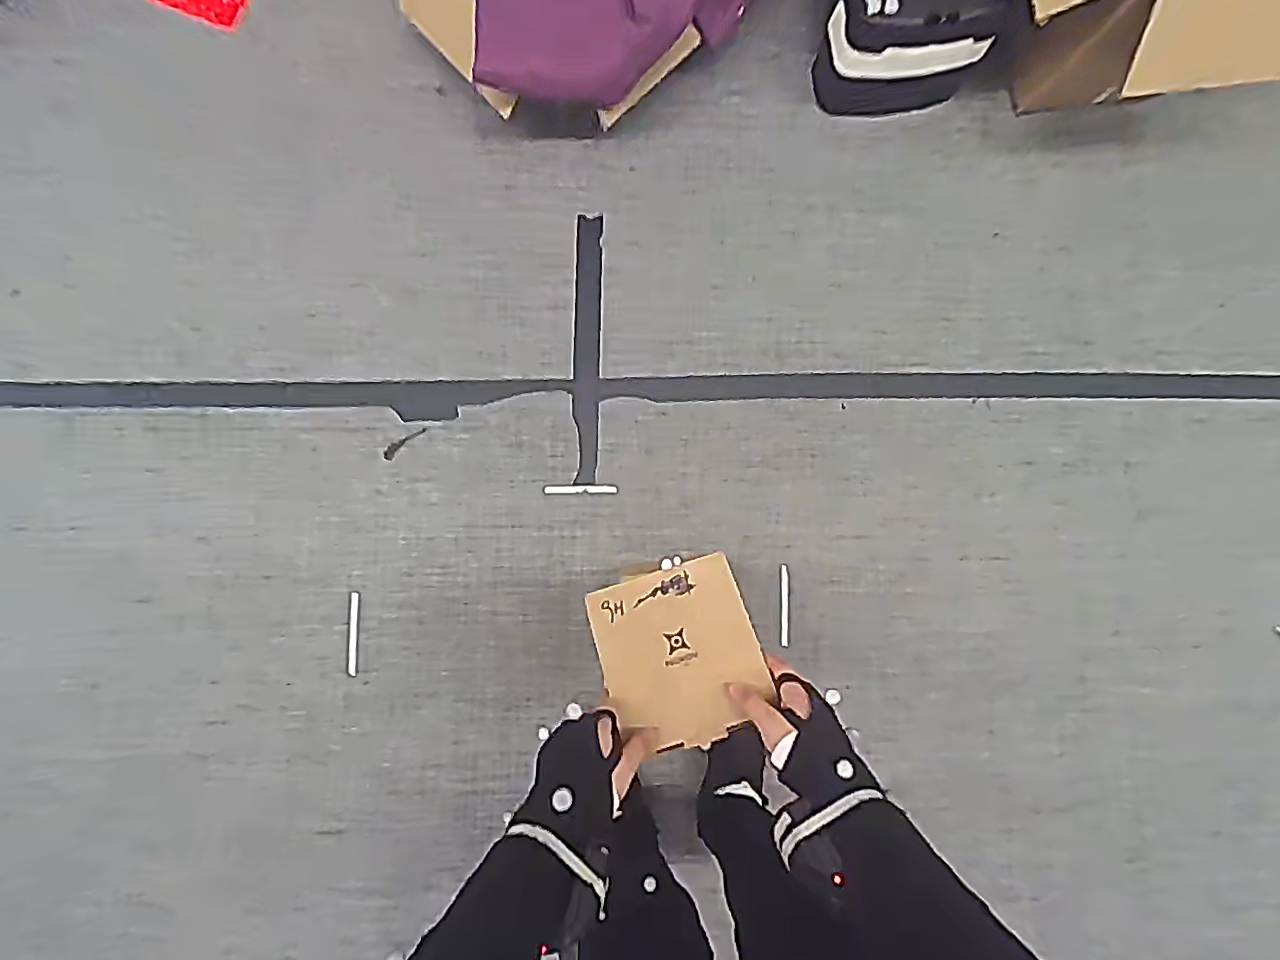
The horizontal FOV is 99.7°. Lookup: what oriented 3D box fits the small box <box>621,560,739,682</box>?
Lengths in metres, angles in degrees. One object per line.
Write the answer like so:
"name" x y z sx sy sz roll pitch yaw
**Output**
"small box" 0.061 0.234 0.937 0.179 0.176 0.168 -6 86 -2
